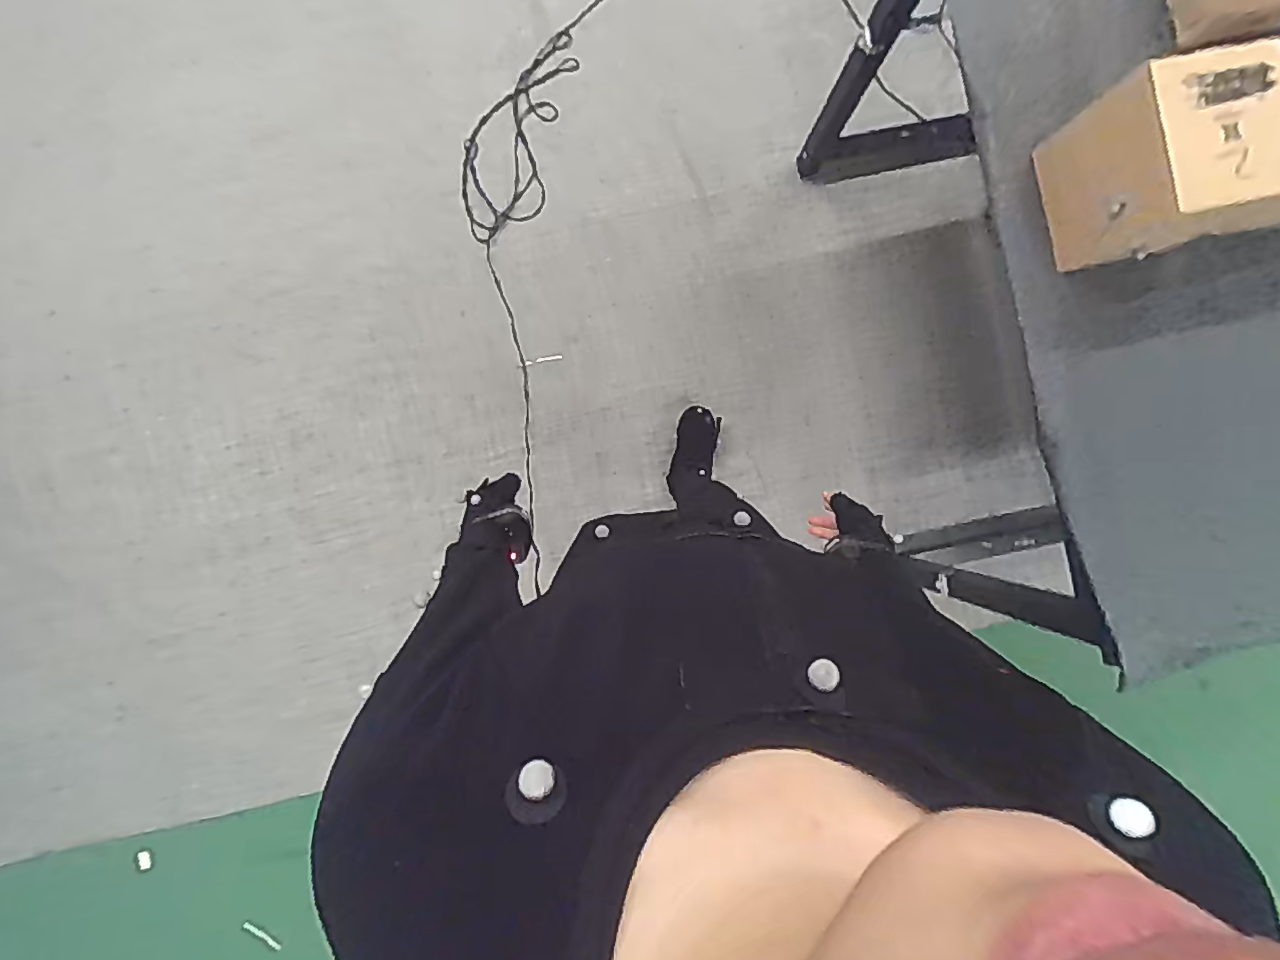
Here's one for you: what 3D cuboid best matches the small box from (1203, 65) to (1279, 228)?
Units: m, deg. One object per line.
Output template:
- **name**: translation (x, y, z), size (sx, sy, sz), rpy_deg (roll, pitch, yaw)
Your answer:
- **small box**: translation (0.880, -0.444, 0.689), size (0.179, 0.176, 0.168), rpy_deg (-8, 90, -2)
